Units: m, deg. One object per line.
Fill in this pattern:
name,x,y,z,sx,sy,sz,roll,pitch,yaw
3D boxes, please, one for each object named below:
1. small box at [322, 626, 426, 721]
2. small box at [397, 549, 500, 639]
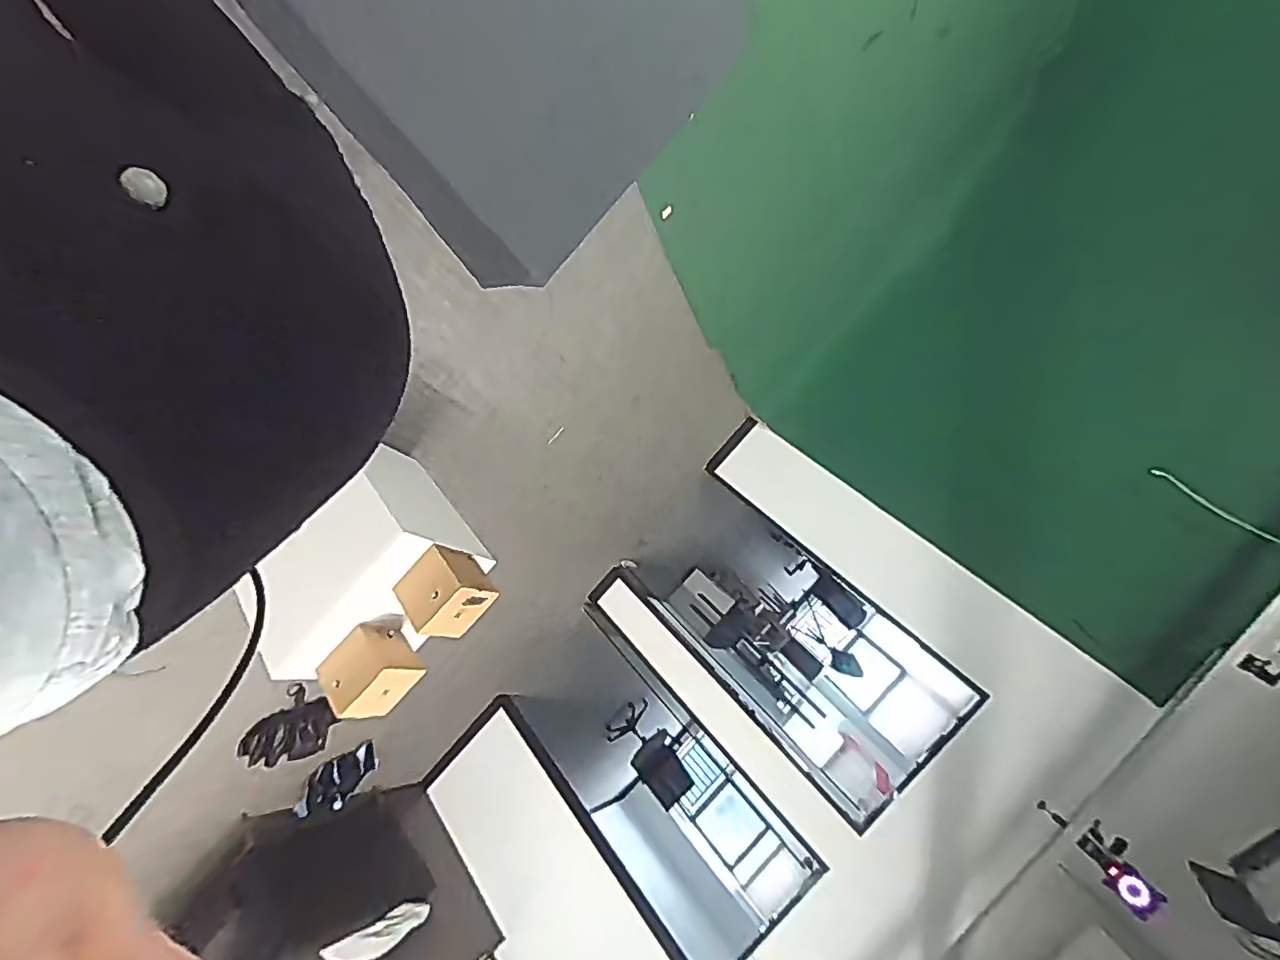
small box,-0.735,0.530,1.484,0.179,0.176,0.168,-48,152,-2
small box,-0.531,0.313,1.486,0.179,0.176,0.168,-47,151,3
